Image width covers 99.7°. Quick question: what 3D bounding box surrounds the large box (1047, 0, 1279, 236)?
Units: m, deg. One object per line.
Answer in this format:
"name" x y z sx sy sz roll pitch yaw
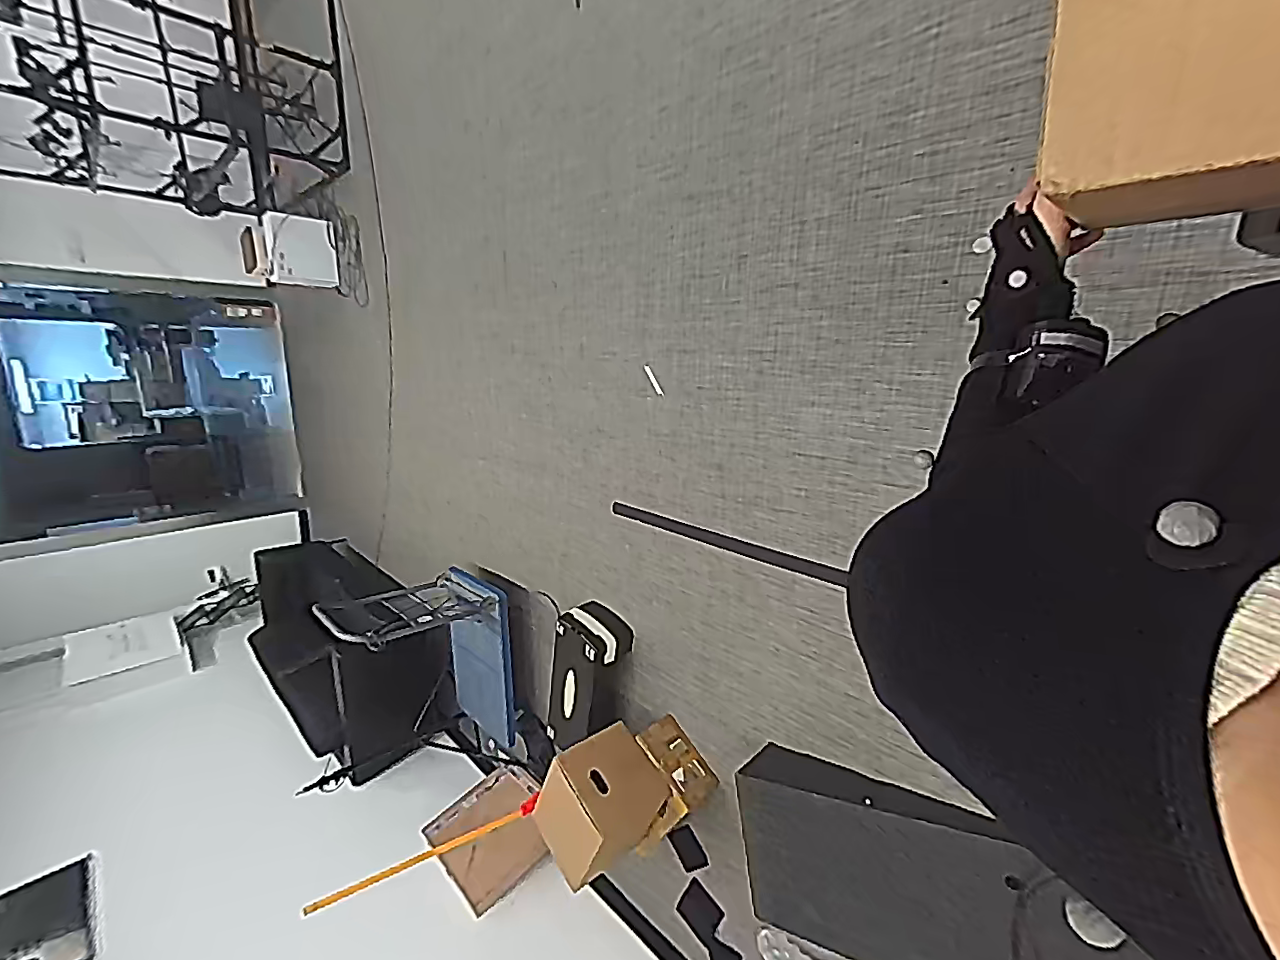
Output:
"large box" 0.437 -0.307 0.218 0.408 0.320 0.320 9 112 39
